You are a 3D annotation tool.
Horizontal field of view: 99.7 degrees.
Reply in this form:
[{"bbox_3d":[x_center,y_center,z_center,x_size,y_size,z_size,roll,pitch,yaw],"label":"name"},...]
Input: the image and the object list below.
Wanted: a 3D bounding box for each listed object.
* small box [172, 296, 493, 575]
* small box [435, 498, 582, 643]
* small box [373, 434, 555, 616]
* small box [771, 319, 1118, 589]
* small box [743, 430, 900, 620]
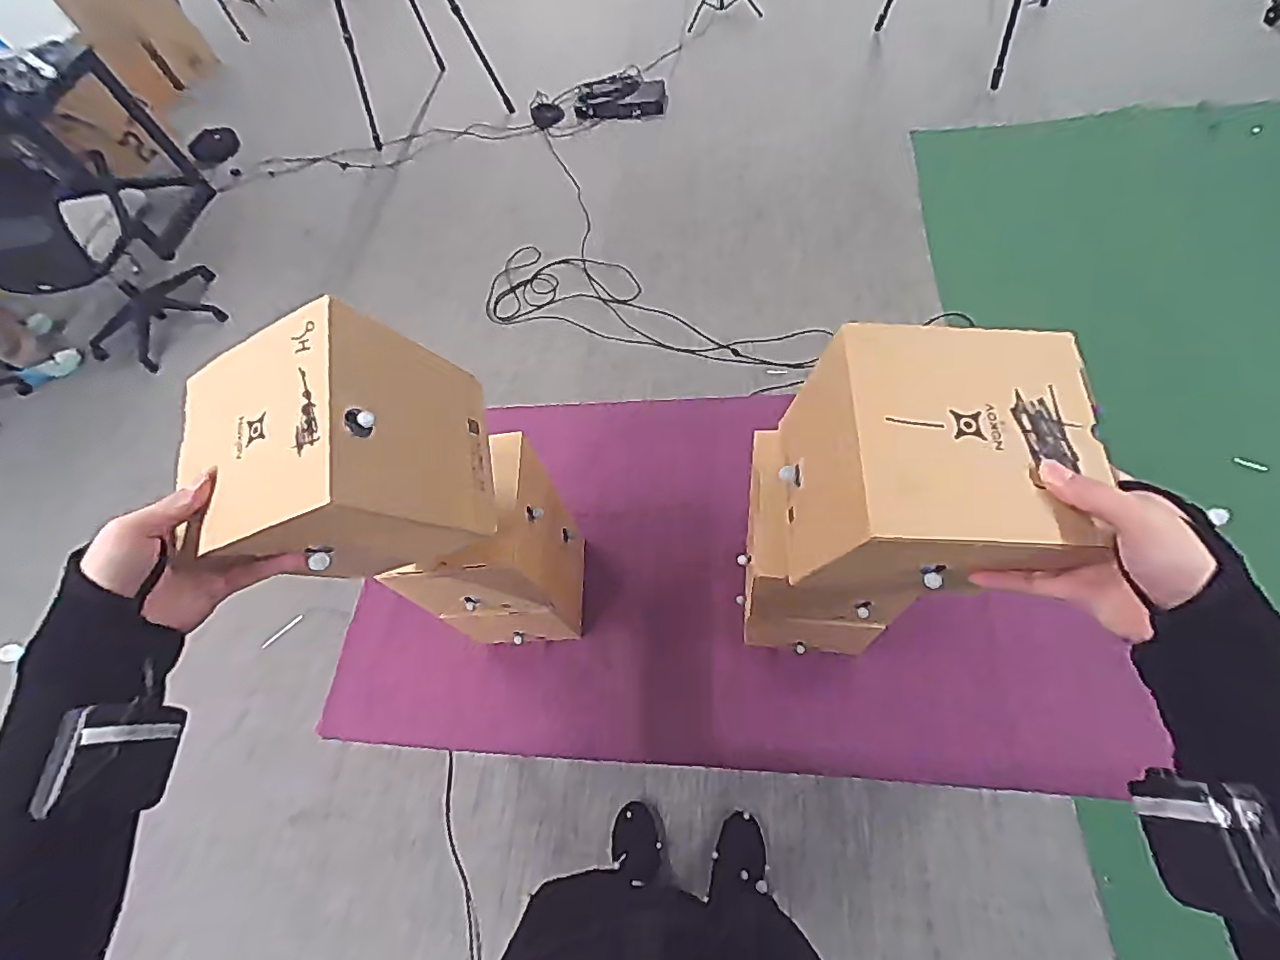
[{"bbox_3d":[-0.255,-0.018,0.472,0.179,0.176,0.168,-19,70,22],"label":"small box"},{"bbox_3d":[-0.192,0.146,0.845,0.168,0.176,0.179,-5,61,8],"label":"small box"},{"bbox_3d":[-0.213,0.064,0.706,0.168,0.176,0.179,-7,61,6],"label":"small box"},{"bbox_3d":[0.219,-0.009,0.444,0.179,0.176,0.168,2,68,-1],"label":"small box"},{"bbox_3d":[0.207,0.058,0.634,0.168,0.176,0.179,1,62,10],"label":"small box"}]
